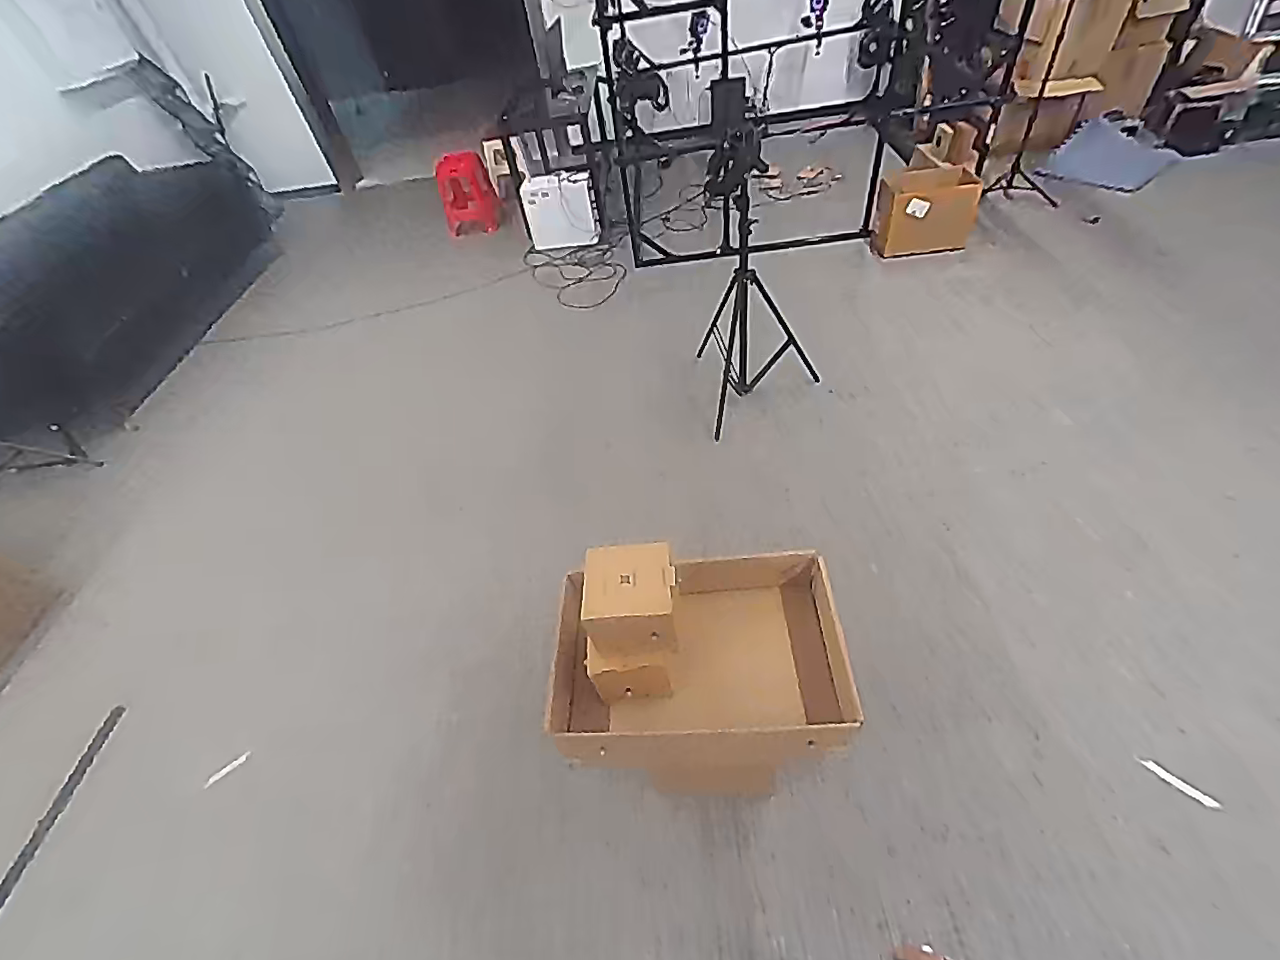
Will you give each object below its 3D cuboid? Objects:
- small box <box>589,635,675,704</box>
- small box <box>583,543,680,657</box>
[{"bbox_3d":[-0.017,0.378,1.216,0.168,0.176,0.179,-9,47,4],"label":"small box"},{"bbox_3d":[-0.009,0.249,1.109,0.179,0.176,0.168,-5,46,6],"label":"small box"}]
